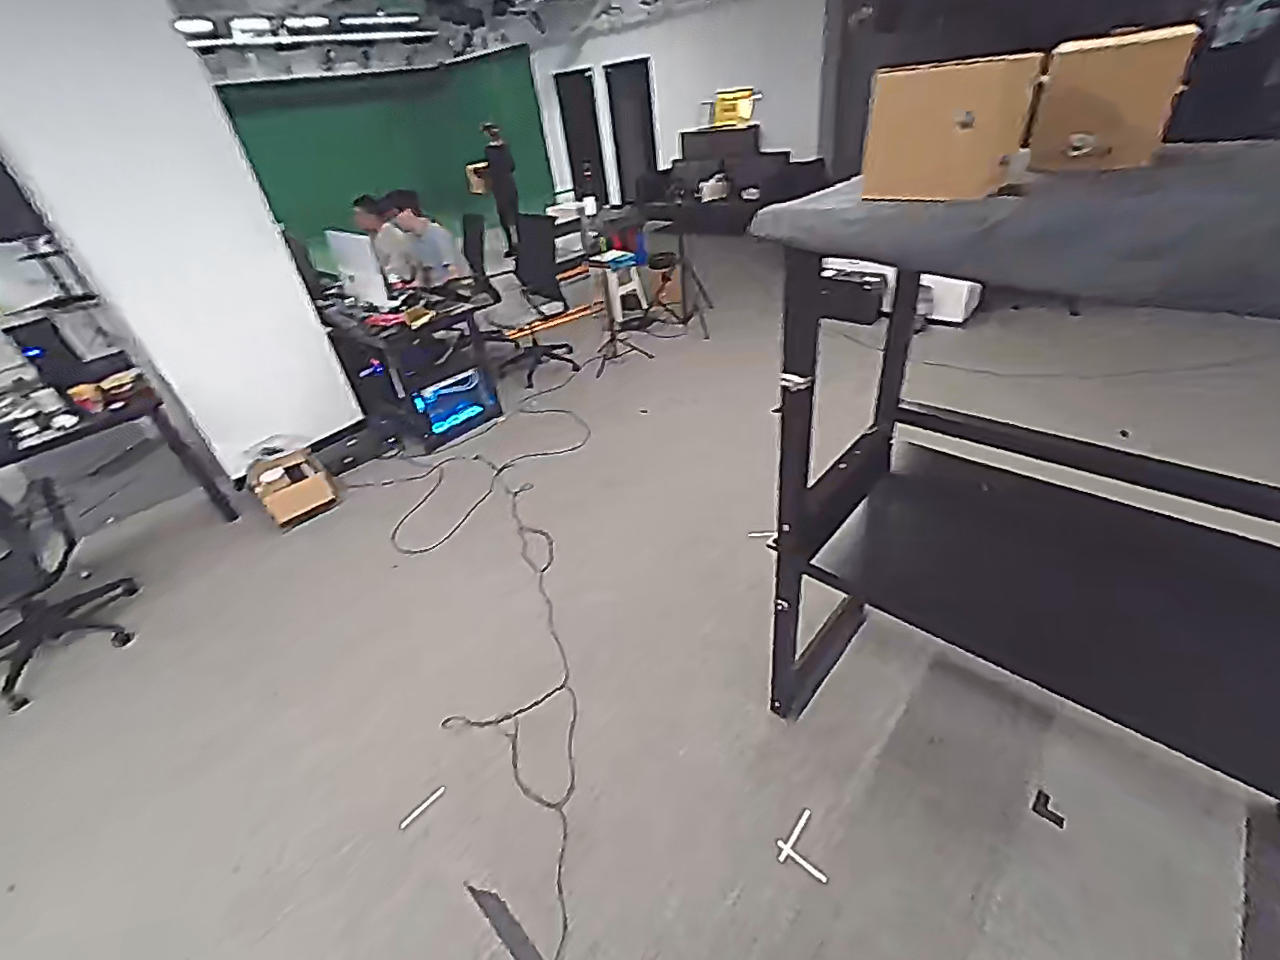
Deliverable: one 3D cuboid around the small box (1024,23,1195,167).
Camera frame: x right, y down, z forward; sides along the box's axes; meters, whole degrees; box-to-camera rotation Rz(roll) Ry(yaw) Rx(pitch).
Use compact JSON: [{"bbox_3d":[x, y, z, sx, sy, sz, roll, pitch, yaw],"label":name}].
[{"bbox_3d":[0.746,-0.614,0.872,0.168,0.176,0.179,17,43,33],"label":"small box"}]
